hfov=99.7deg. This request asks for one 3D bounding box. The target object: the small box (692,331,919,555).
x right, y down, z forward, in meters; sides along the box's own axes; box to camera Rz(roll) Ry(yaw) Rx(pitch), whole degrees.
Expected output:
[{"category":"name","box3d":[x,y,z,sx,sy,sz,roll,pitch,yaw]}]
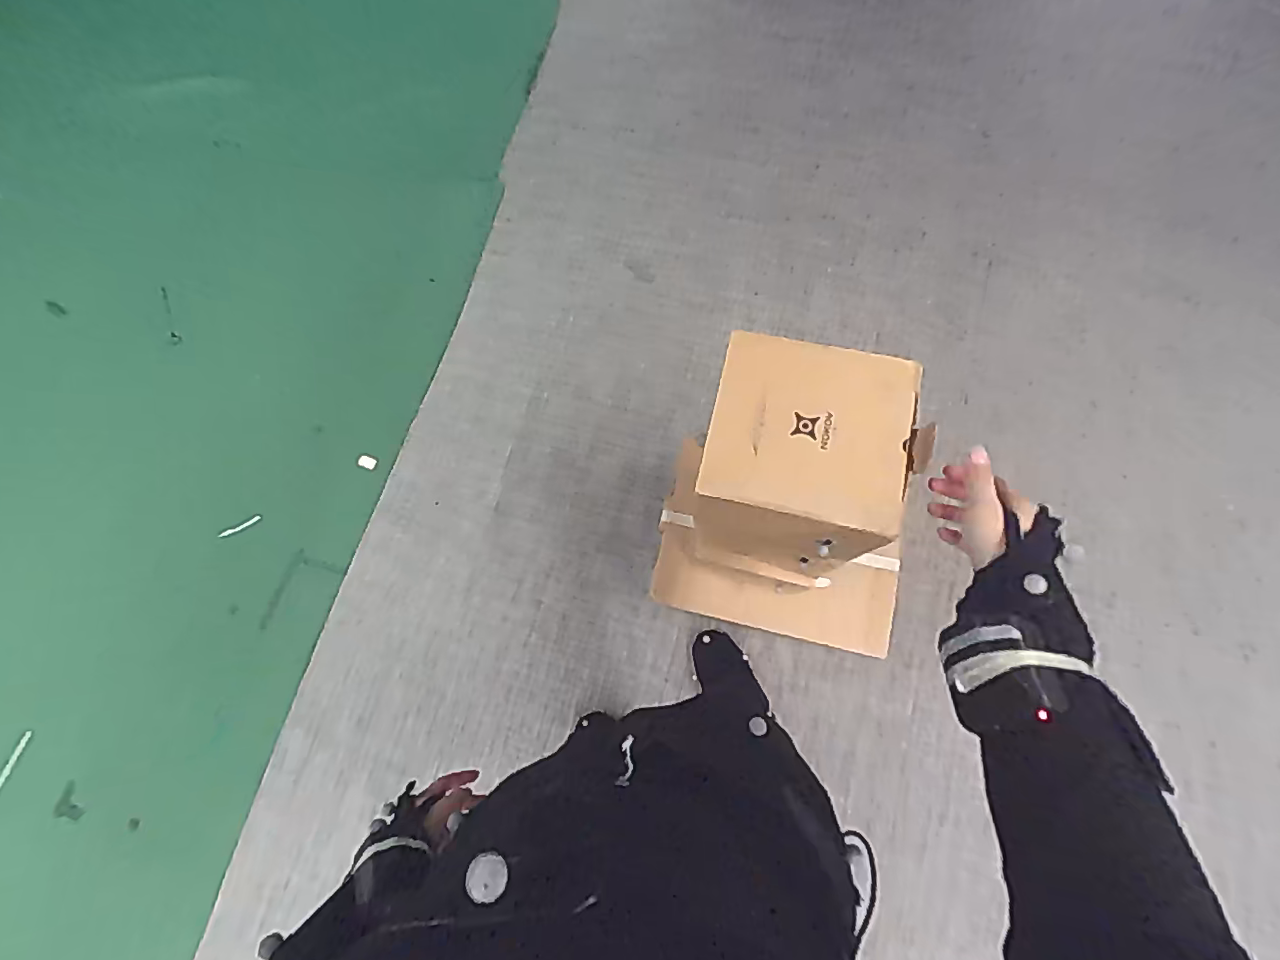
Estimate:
[{"category":"small box","box3d":[0.157,-0.026,0.557,0.179,0.176,0.168,12,75,10]}]

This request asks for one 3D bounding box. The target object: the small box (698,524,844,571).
[{"category":"small box","box3d":[0.178,0.015,0.713,0.179,0.176,0.168,16,77,10]}]

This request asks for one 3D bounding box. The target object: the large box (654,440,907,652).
[{"category":"large box","box3d":[0.261,0.141,1.093,0.408,0.320,0.320,12,78,9]}]
